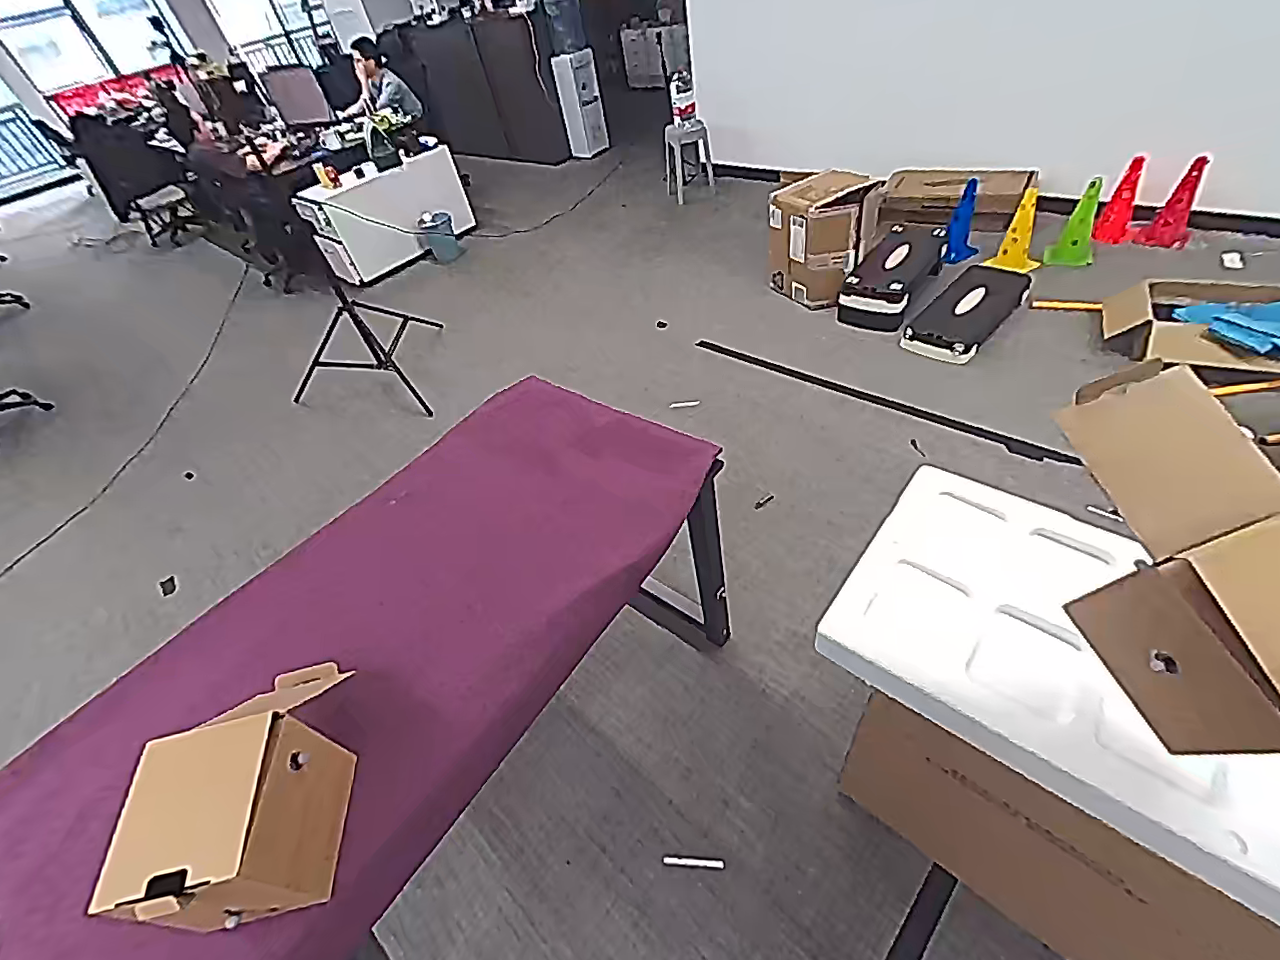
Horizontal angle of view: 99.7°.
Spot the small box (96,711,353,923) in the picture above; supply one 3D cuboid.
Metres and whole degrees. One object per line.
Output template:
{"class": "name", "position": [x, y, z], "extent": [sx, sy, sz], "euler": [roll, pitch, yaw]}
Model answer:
{"class": "small box", "position": [-0.495, 0.426, 0.684], "extent": [0.168, 0.176, 0.179], "euler": [-15, 44, 1]}
